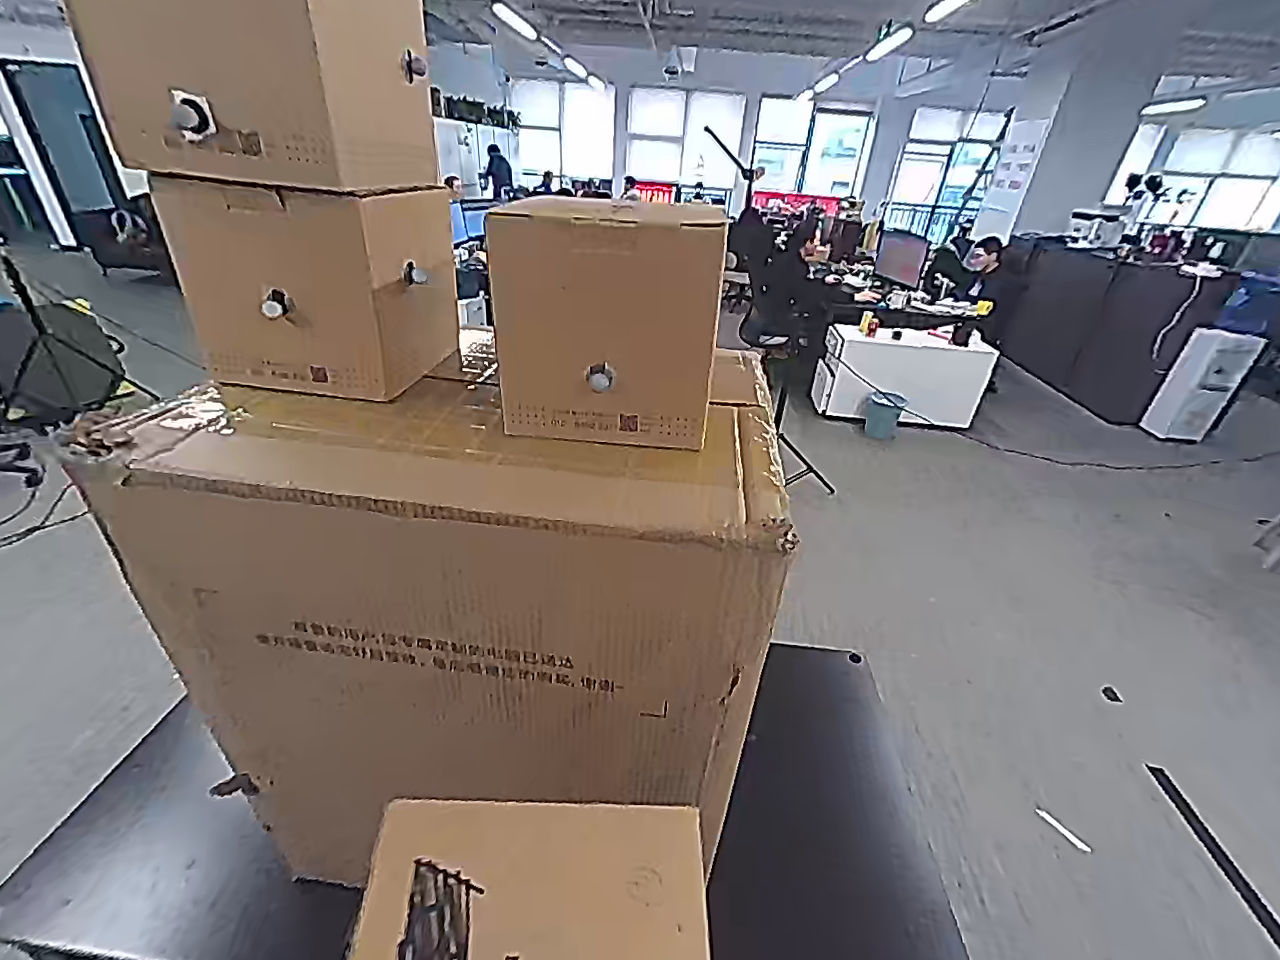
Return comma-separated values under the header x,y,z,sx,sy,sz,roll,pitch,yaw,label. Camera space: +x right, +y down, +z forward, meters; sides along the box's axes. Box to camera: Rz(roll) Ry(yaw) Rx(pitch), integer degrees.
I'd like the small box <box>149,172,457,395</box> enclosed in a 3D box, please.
x,y,z,sx,sy,sz,roll,pitch,yaw,label
-0.284,-0.191,0.510,0.168,0.176,0.179,7,31,1,small box

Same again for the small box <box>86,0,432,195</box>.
x,y,z,sx,sy,sz,roll,pitch,yaw,label
-0.274,-0.325,0.416,0.168,0.176,0.179,5,31,1,small box

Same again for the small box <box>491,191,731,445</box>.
x,y,z,sx,sy,sz,roll,pitch,yaw,label
-0.016,-0.147,0.468,0.168,0.176,0.179,4,31,4,small box
